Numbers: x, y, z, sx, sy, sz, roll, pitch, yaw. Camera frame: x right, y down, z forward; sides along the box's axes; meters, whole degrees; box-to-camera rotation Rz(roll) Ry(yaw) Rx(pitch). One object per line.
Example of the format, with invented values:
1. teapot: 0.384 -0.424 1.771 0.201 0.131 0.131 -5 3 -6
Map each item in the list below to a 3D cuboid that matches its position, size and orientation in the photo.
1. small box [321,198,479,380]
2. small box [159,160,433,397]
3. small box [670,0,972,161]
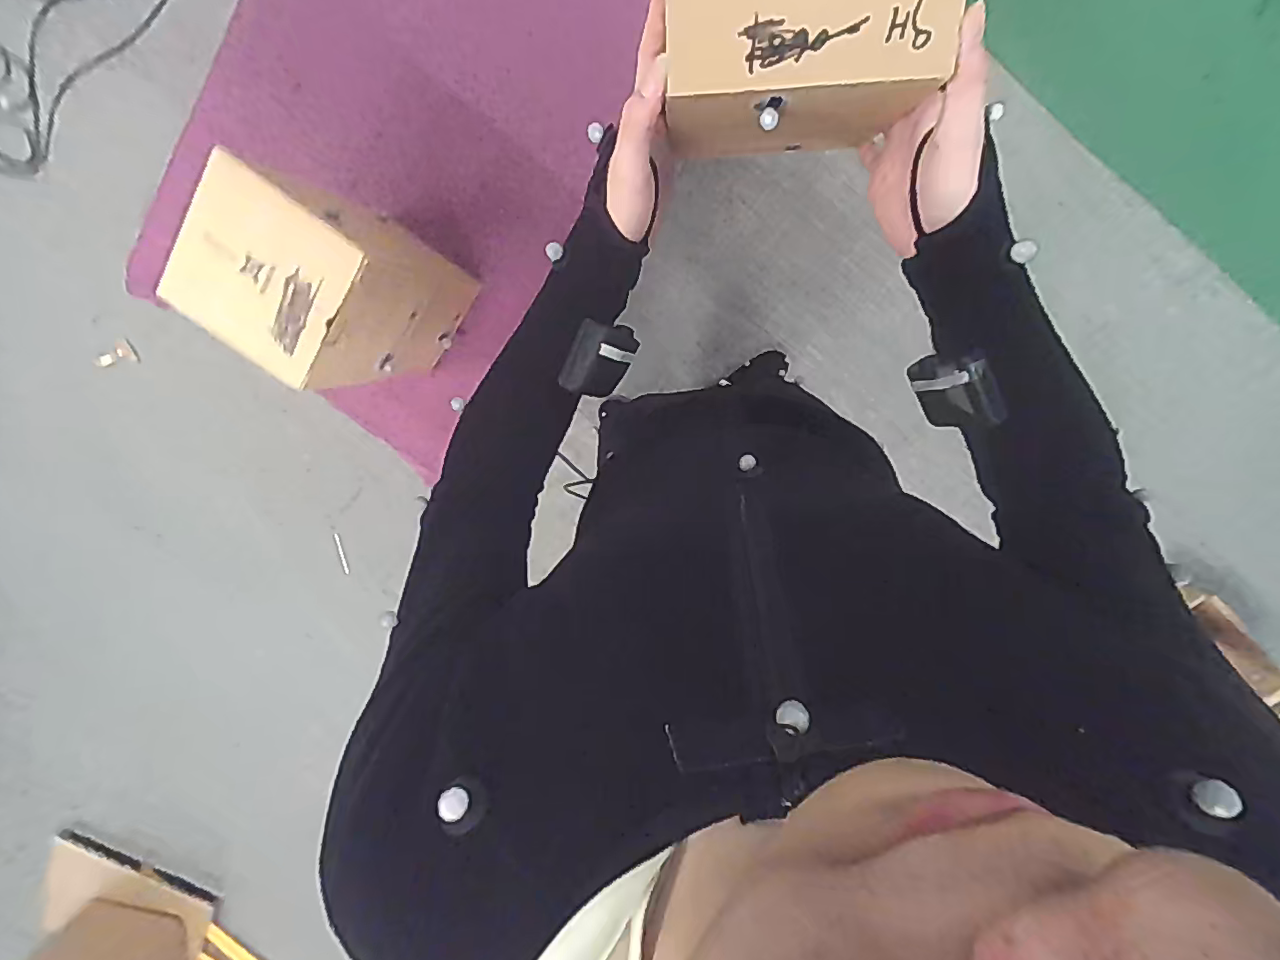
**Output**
1. small box: -0.369 -0.262 0.780 0.179 0.176 0.168 35 104 -5
2. small box: -0.375 -0.218 0.622 0.179 0.176 0.168 36 104 -3
3. small box: 0.103 -0.333 0.360 0.168 0.176 0.179 0 109 5
